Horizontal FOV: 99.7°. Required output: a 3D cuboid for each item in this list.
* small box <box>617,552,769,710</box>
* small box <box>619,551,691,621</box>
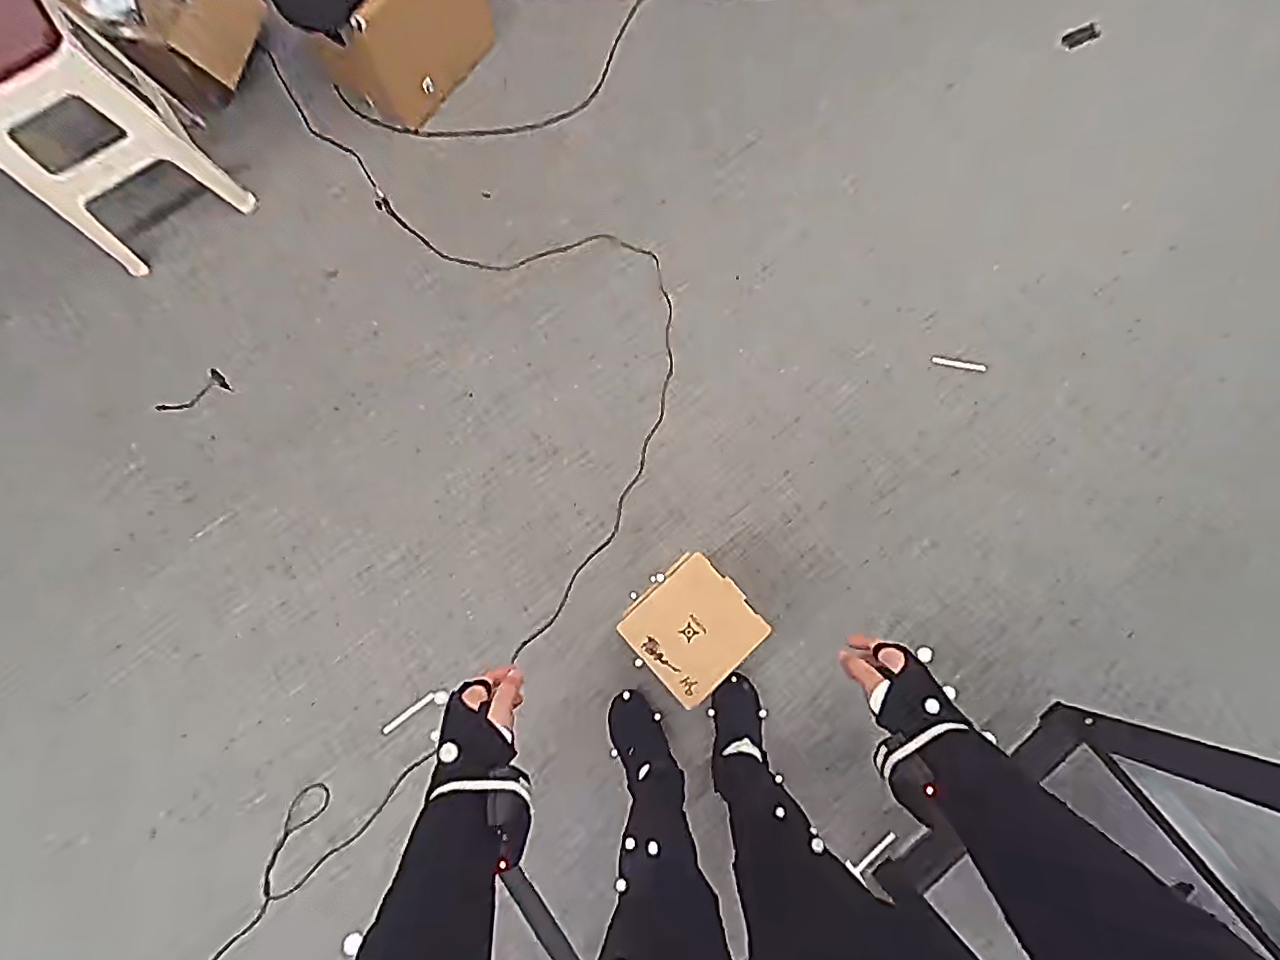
[{"bbox_3d":[0.078,0.241,0.892,0.179,0.176,0.168,-42,80,-9],"label":"small box"},{"bbox_3d":[0.078,0.263,1.057,0.168,0.176,0.179,44,80,7],"label":"small box"}]
